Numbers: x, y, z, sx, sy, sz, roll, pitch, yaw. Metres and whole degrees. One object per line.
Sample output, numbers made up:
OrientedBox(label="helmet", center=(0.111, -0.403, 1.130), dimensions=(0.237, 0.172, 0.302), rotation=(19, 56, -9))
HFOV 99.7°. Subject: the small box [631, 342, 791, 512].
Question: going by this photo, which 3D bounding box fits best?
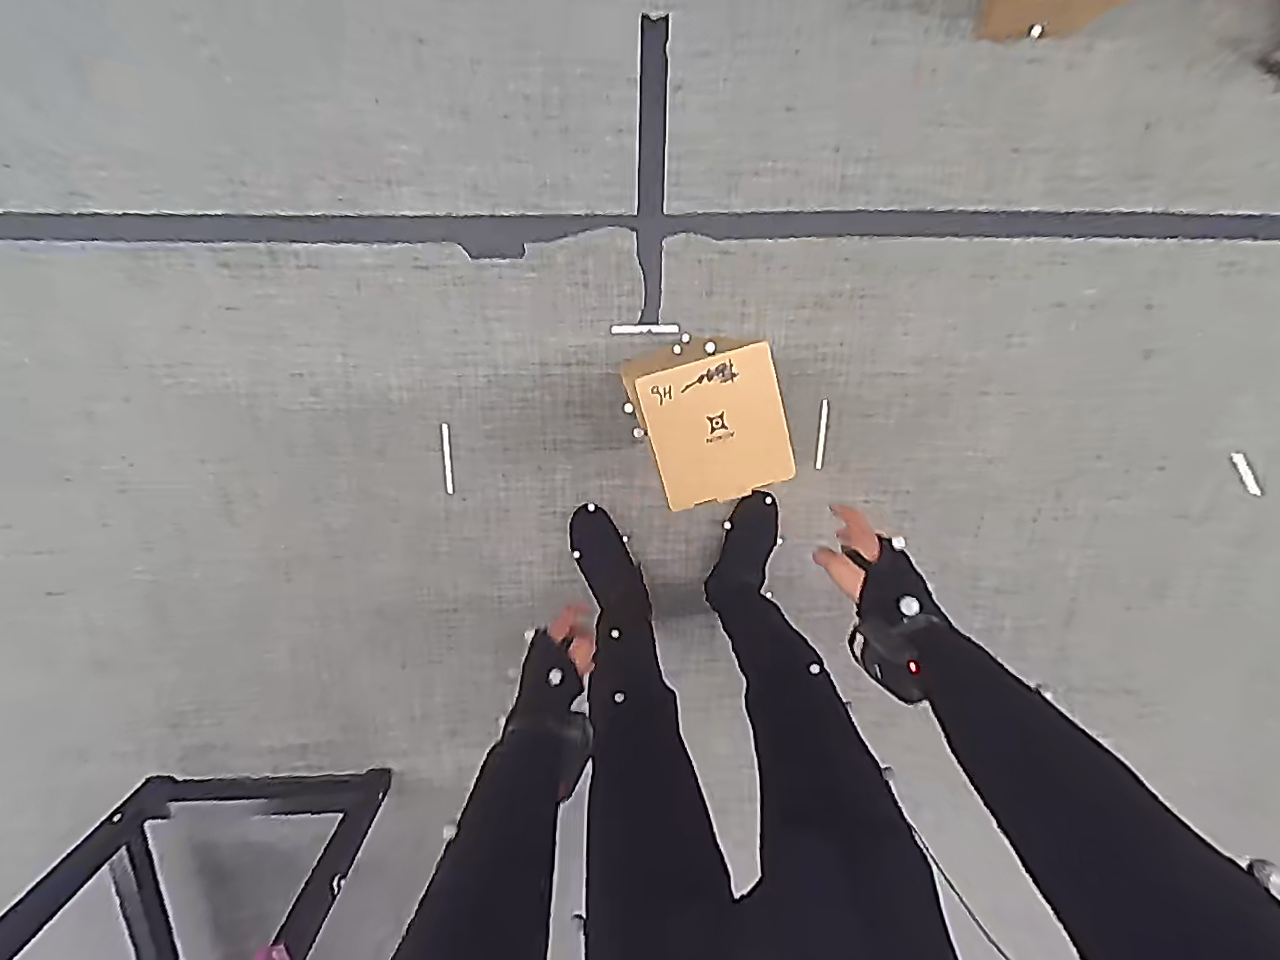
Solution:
OrientedBox(label="small box", center=(0.089, -0.081, 0.739), dimensions=(0.168, 0.176, 0.179), rotation=(-16, 106, 1))
